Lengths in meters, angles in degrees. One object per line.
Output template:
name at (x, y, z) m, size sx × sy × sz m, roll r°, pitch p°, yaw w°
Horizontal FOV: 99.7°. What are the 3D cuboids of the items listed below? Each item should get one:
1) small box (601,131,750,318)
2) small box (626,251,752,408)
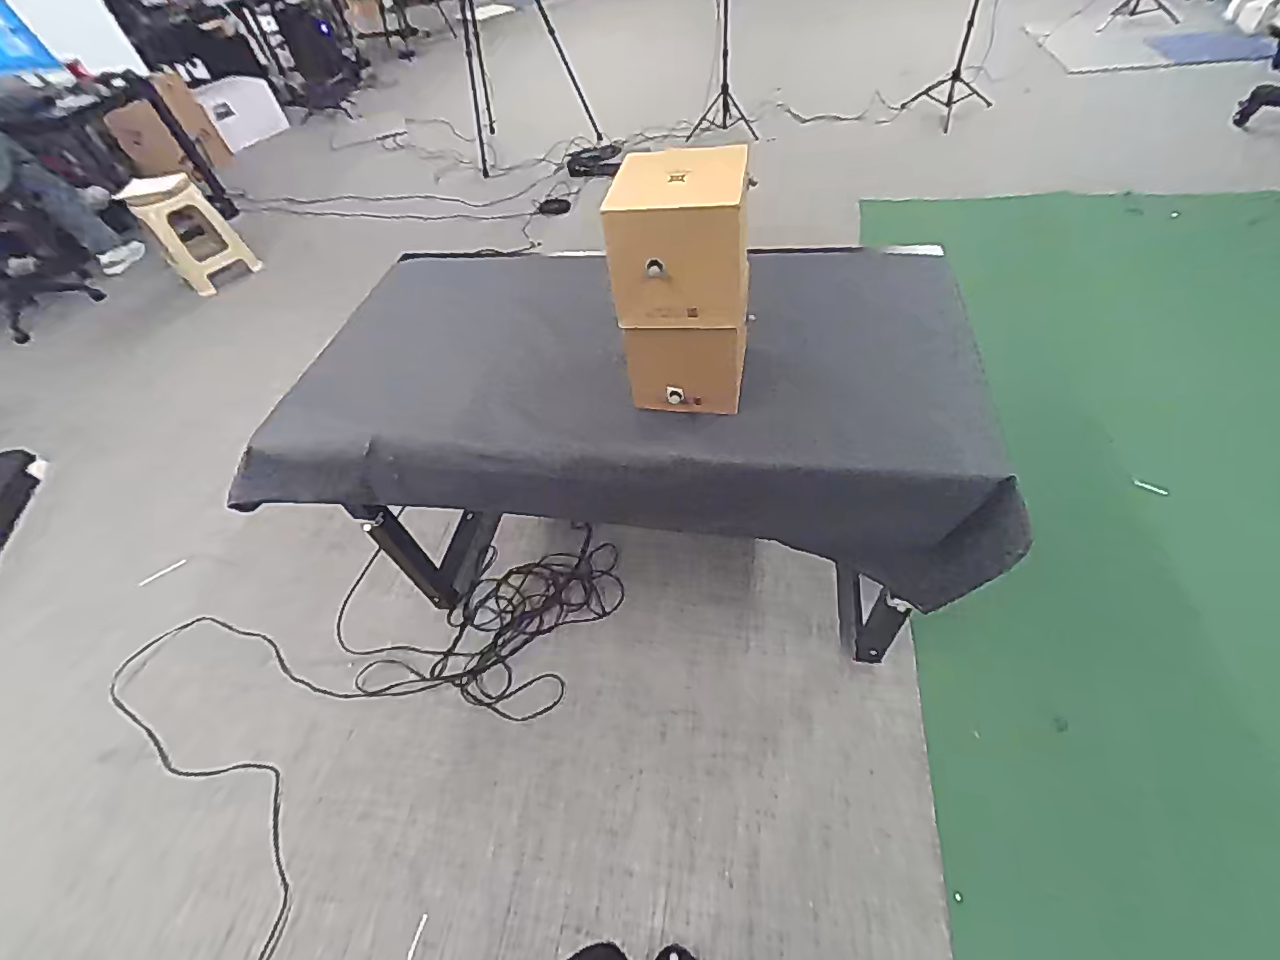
small box at (0.059, -0.332, 0.718) m, size 0.168 × 0.176 × 0.179 m, roll 3°, pitch 51°, yaw 12°
small box at (0.084, -0.237, 0.848) m, size 0.168 × 0.176 × 0.179 m, roll 4°, pitch 53°, yaw 13°
